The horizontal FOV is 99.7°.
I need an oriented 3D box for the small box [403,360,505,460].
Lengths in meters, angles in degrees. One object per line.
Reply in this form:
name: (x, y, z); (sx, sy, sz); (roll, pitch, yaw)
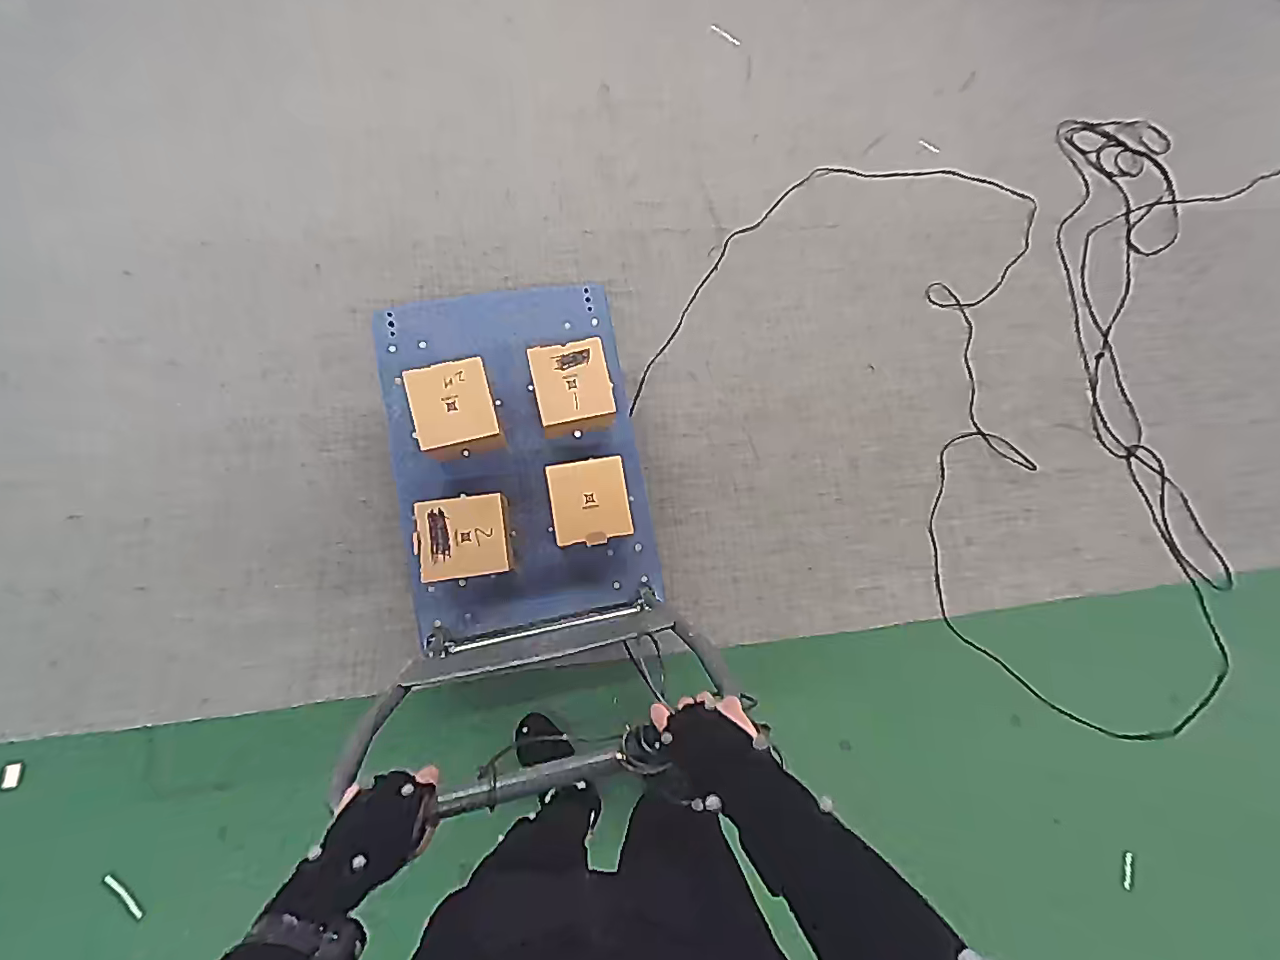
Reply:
small box: (-0.406, -0.148, 1.209); (0.168, 0.176, 0.179); (-14, 86, -10)

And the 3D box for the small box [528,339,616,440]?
small box: (-0.159, -0.203, 1.250); (0.168, 0.176, 0.179); (-12, 87, -8)

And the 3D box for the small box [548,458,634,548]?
small box: (-0.118, 0.056, 1.232); (0.168, 0.176, 0.179); (-9, 86, -9)
